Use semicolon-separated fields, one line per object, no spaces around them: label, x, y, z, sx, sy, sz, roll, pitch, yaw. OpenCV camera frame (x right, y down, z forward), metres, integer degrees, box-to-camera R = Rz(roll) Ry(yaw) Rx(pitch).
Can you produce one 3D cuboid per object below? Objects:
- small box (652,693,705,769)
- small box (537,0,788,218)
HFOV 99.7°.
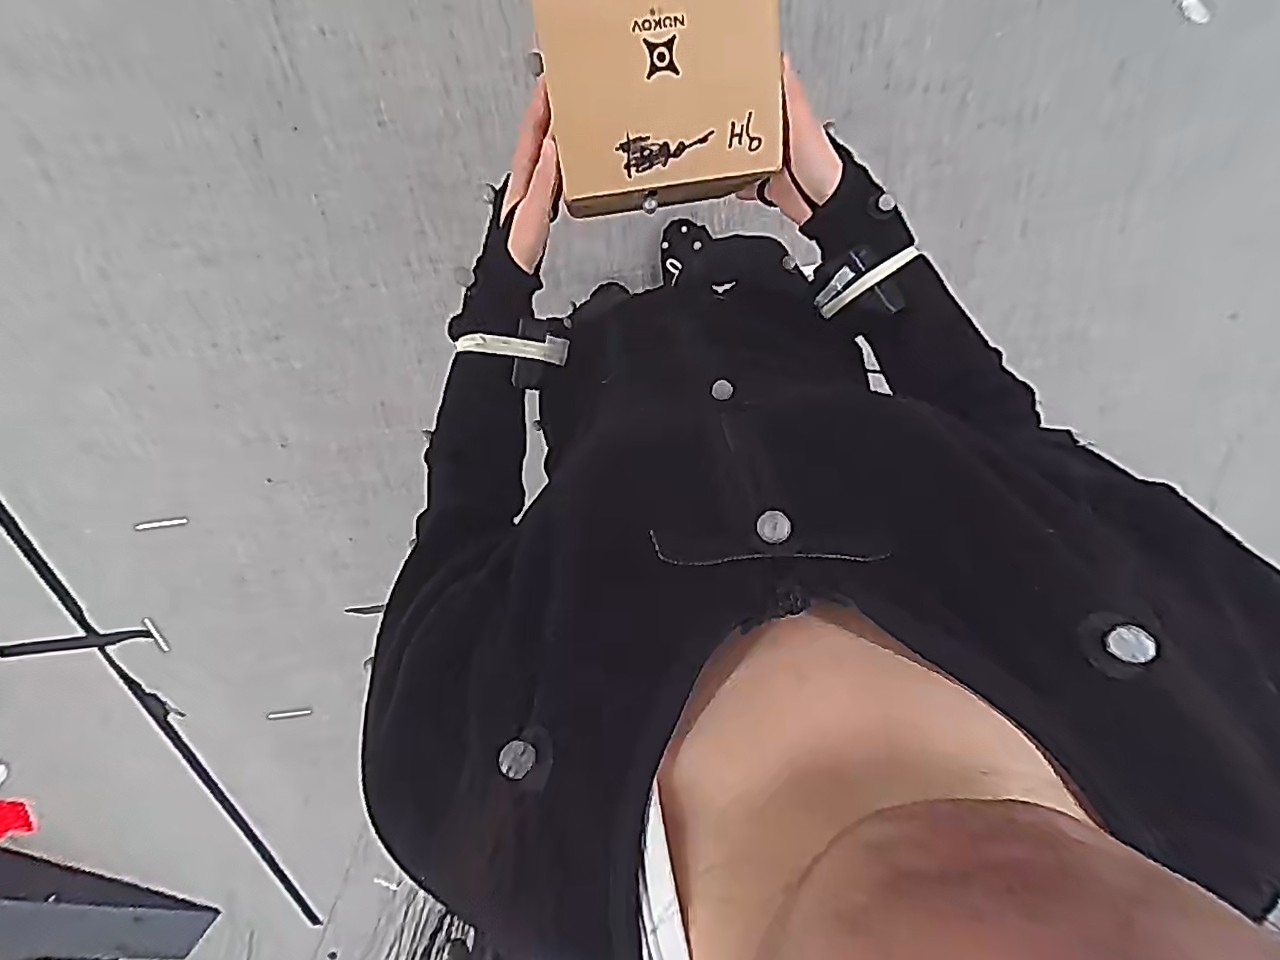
small box;0.137;0.902;1.946;0.168;0.176;0.179;-9;115;1
small box;0.010;-0.325;0.439;0.168;0.176;0.179;-9;112;-2
